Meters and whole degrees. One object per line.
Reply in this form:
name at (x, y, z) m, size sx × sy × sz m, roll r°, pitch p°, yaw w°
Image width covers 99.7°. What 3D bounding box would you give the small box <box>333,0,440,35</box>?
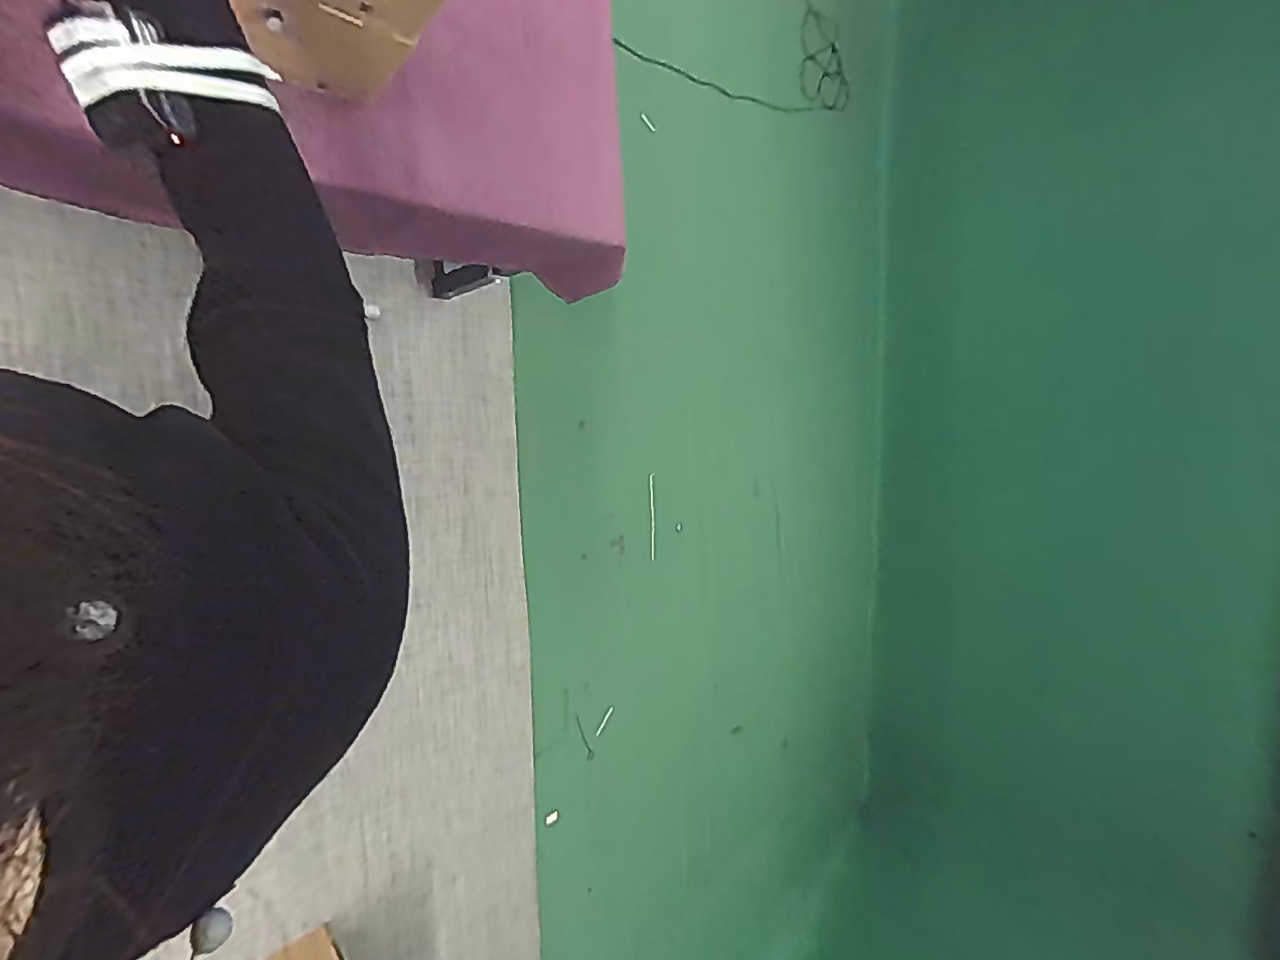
small box at (-0.265, -0.573, 0.501) m, size 0.168 × 0.176 × 0.179 m, roll -12°, pitch 100°, yaw -45°
